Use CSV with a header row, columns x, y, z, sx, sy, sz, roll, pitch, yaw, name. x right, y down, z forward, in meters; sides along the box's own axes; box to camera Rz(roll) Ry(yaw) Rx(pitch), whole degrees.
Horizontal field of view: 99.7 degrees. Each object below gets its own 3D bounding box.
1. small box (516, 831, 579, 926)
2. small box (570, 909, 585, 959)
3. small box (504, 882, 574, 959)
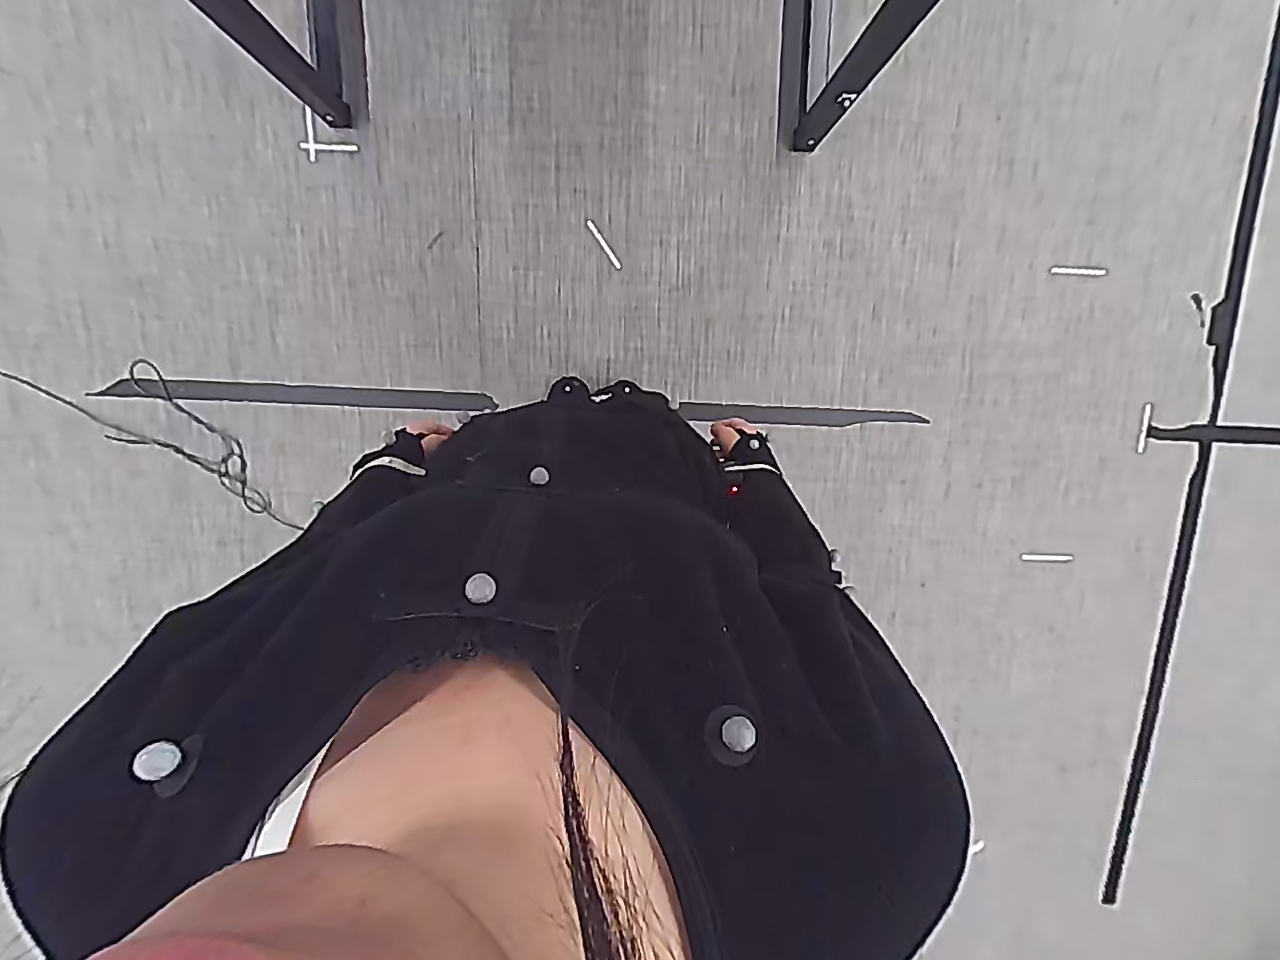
x,y,z,sx,sy,sz,roll,pitch,yaw,name
-0.271,1.173,1.601,0.168,0.176,0.179,-1,101,-2,small box
-0.261,1.450,1.651,0.168,0.176,0.179,-6,100,-2,small box
-0.267,1.214,1.442,0.168,0.176,0.179,3,101,-3,small box
